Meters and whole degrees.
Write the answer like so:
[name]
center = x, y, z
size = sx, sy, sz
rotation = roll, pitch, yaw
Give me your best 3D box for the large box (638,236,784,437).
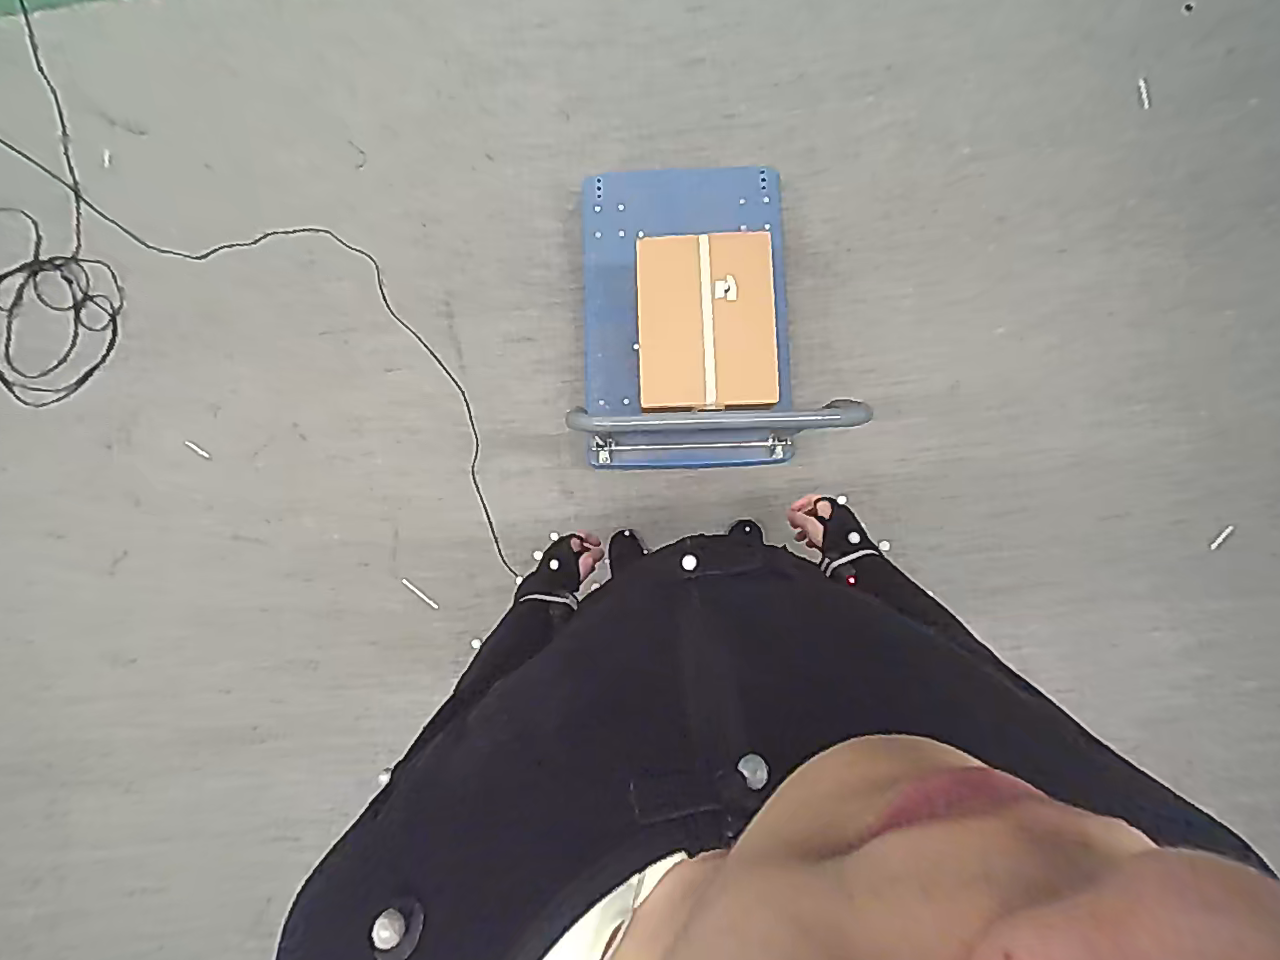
[large box]
center = 0.164, -0.338, 1.366
size = 0.320, 0.320, 0.408
rotation = -2, 83, 1
